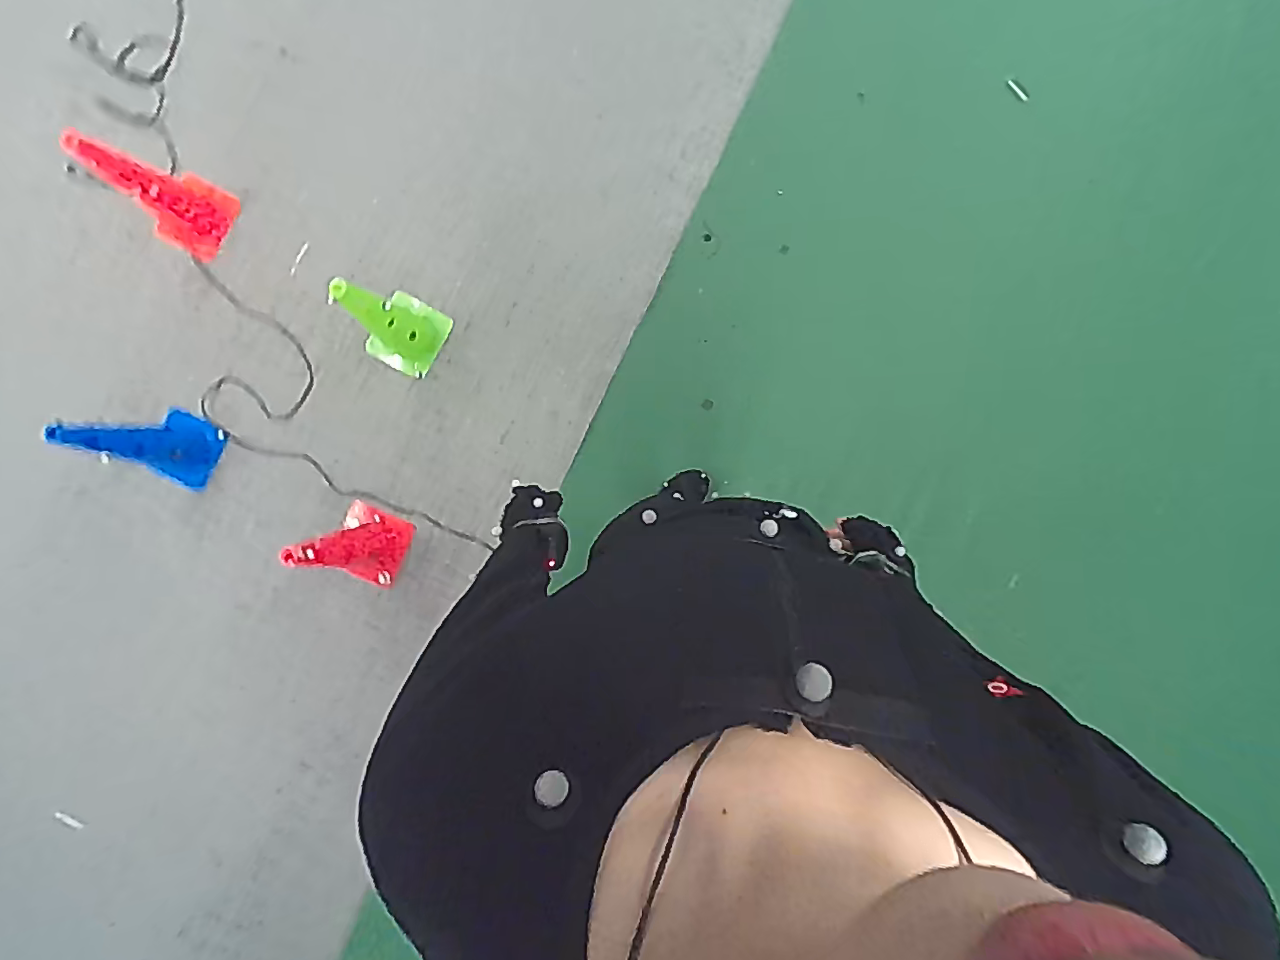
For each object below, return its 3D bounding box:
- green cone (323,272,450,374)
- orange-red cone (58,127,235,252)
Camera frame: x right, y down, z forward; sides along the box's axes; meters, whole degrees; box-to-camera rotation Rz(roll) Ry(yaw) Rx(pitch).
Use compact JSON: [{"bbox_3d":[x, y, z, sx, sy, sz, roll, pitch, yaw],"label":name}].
[{"bbox_3d":[-0.674,-0.437,1.379,0.202,0.368,0.200,28,89,4],"label":"green cone"},{"bbox_3d":[-1.312,-0.793,1.416,0.199,0.360,0.198,30,90,1],"label":"orange-red cone"}]
